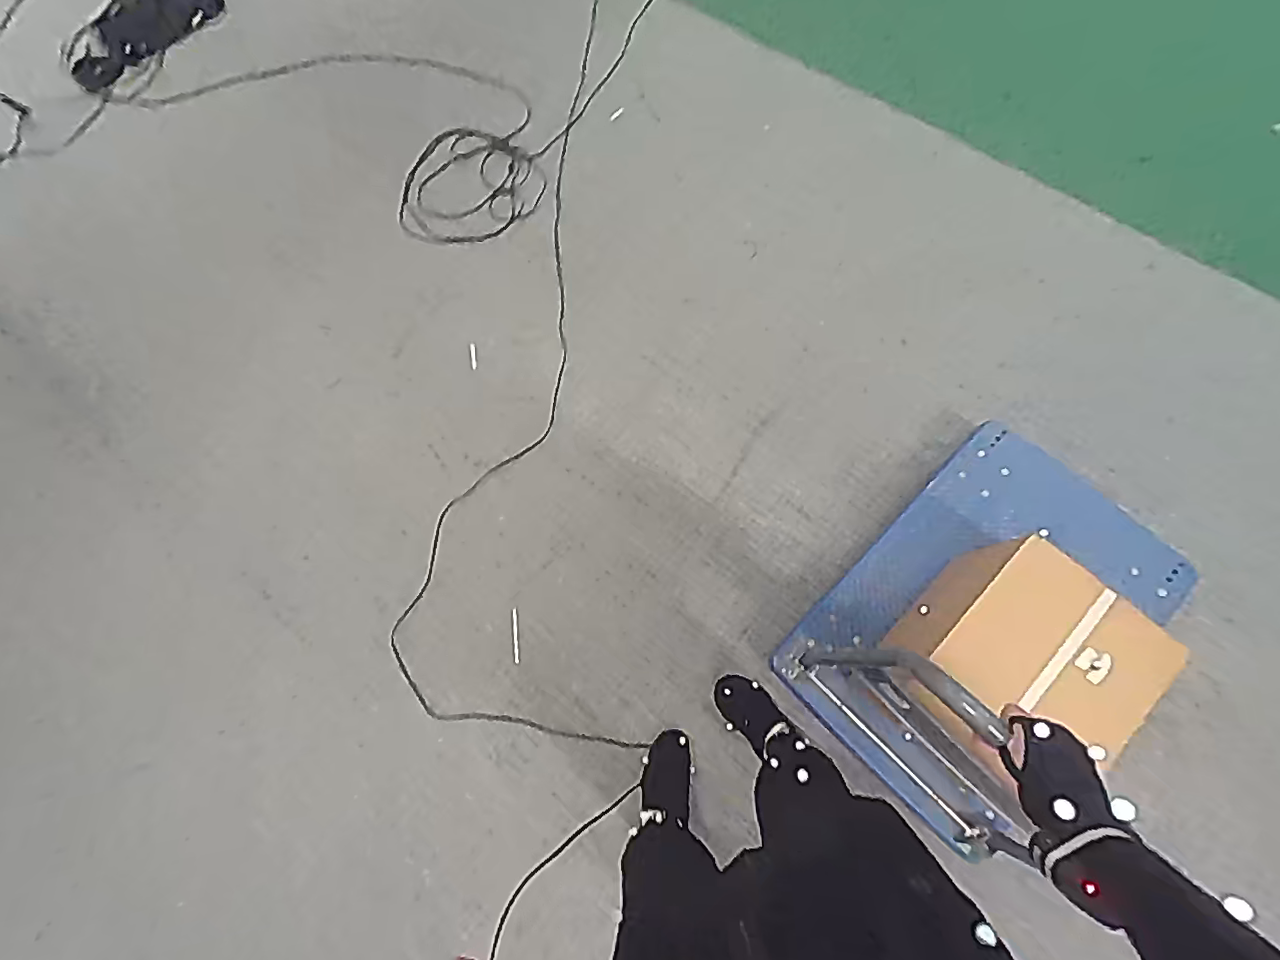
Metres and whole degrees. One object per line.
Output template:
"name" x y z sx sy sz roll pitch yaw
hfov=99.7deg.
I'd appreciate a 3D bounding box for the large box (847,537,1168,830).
"large box" 0.704 0.391 1.103 0.320 0.320 0.408 43 79 14
